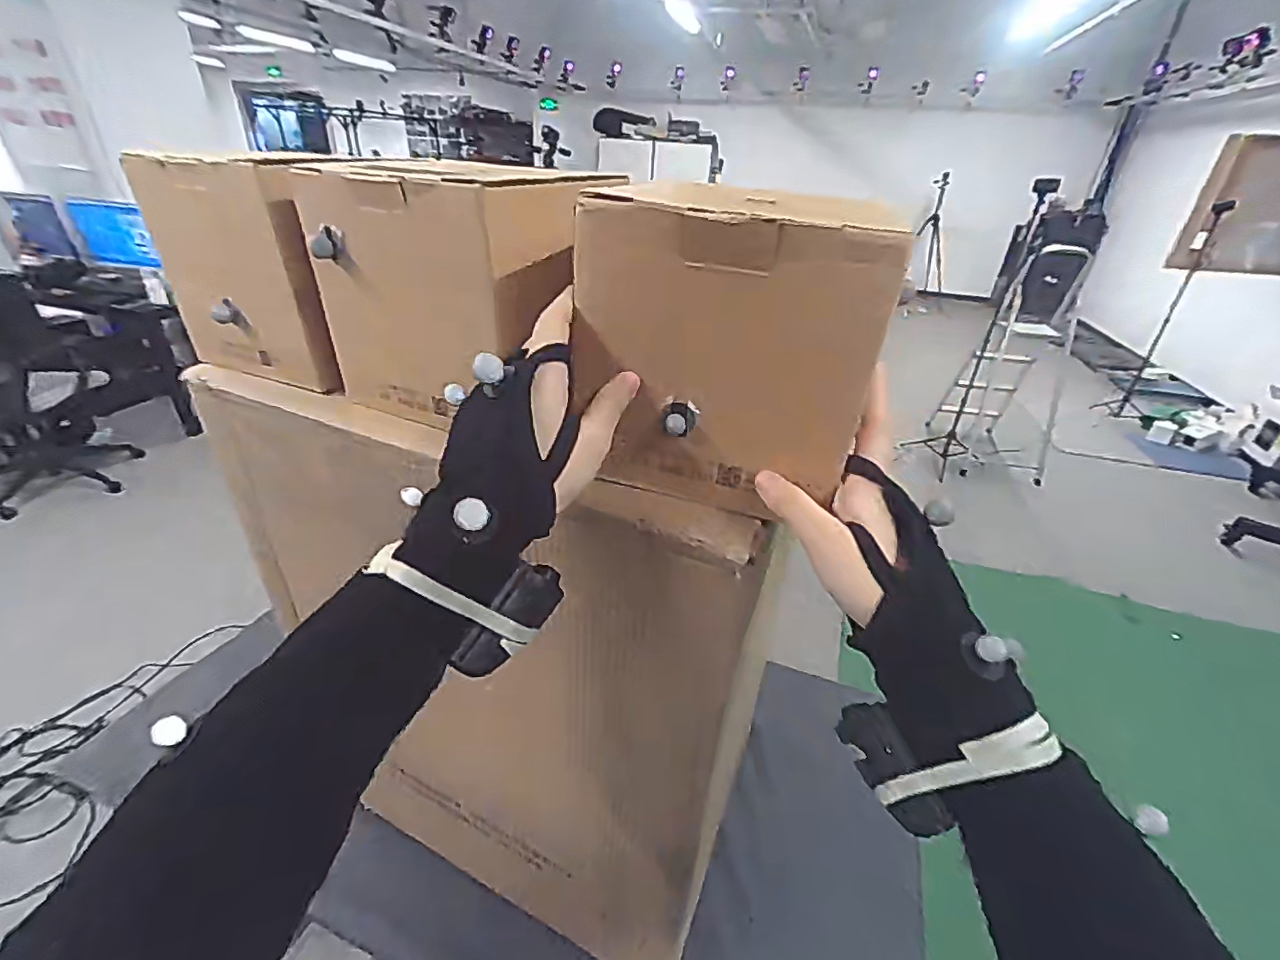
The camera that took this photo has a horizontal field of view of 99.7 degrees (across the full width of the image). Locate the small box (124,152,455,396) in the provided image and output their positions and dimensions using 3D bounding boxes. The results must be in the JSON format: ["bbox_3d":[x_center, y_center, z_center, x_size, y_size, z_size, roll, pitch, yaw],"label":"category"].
[{"bbox_3d":[-0.290,-0.194,0.492,0.168,0.176,0.179,15,34,20],"label":"small box"}]

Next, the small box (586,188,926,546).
[{"bbox_3d":[0.068,-0.087,0.363,0.168,0.176,0.179,15,35,13],"label":"small box"}]
